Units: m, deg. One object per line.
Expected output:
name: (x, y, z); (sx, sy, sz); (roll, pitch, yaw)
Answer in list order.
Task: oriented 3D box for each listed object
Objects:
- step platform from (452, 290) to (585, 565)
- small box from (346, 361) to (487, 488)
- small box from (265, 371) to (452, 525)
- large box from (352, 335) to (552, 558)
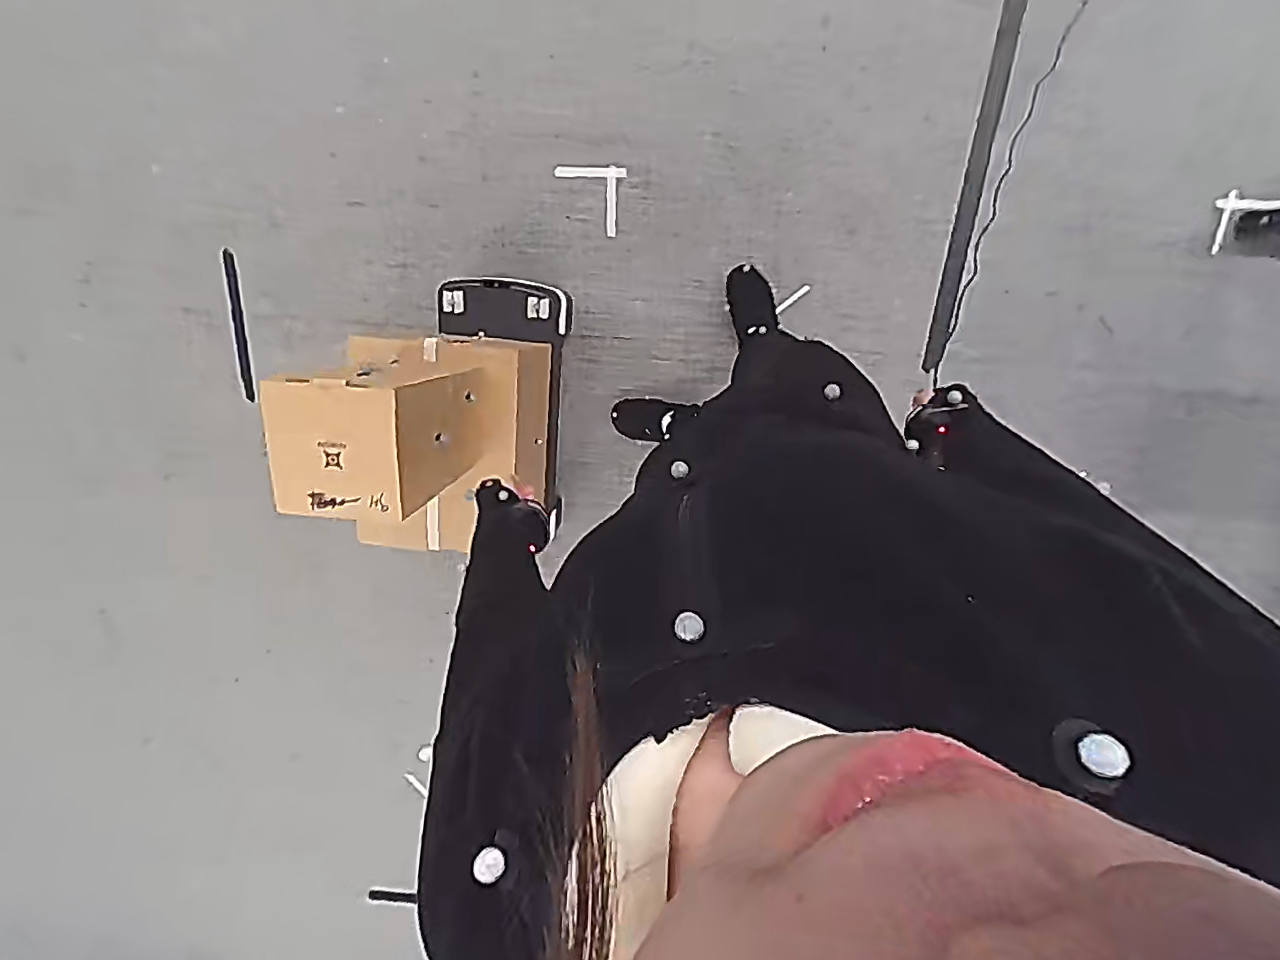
step platform: (-0.334, -0.124, 1.387); (0.286, 0.204, 0.684); (10, 107, -1)
small box: (-0.359, -0.100, 0.894); (0.168, 0.176, 0.179); (6, 106, 1)
small box: (-0.367, -0.053, 0.737); (0.168, 0.176, 0.179); (5, 105, 2)
large box: (-0.367, -0.091, 1.151); (0.320, 0.320, 0.408); (5, 107, 2)
